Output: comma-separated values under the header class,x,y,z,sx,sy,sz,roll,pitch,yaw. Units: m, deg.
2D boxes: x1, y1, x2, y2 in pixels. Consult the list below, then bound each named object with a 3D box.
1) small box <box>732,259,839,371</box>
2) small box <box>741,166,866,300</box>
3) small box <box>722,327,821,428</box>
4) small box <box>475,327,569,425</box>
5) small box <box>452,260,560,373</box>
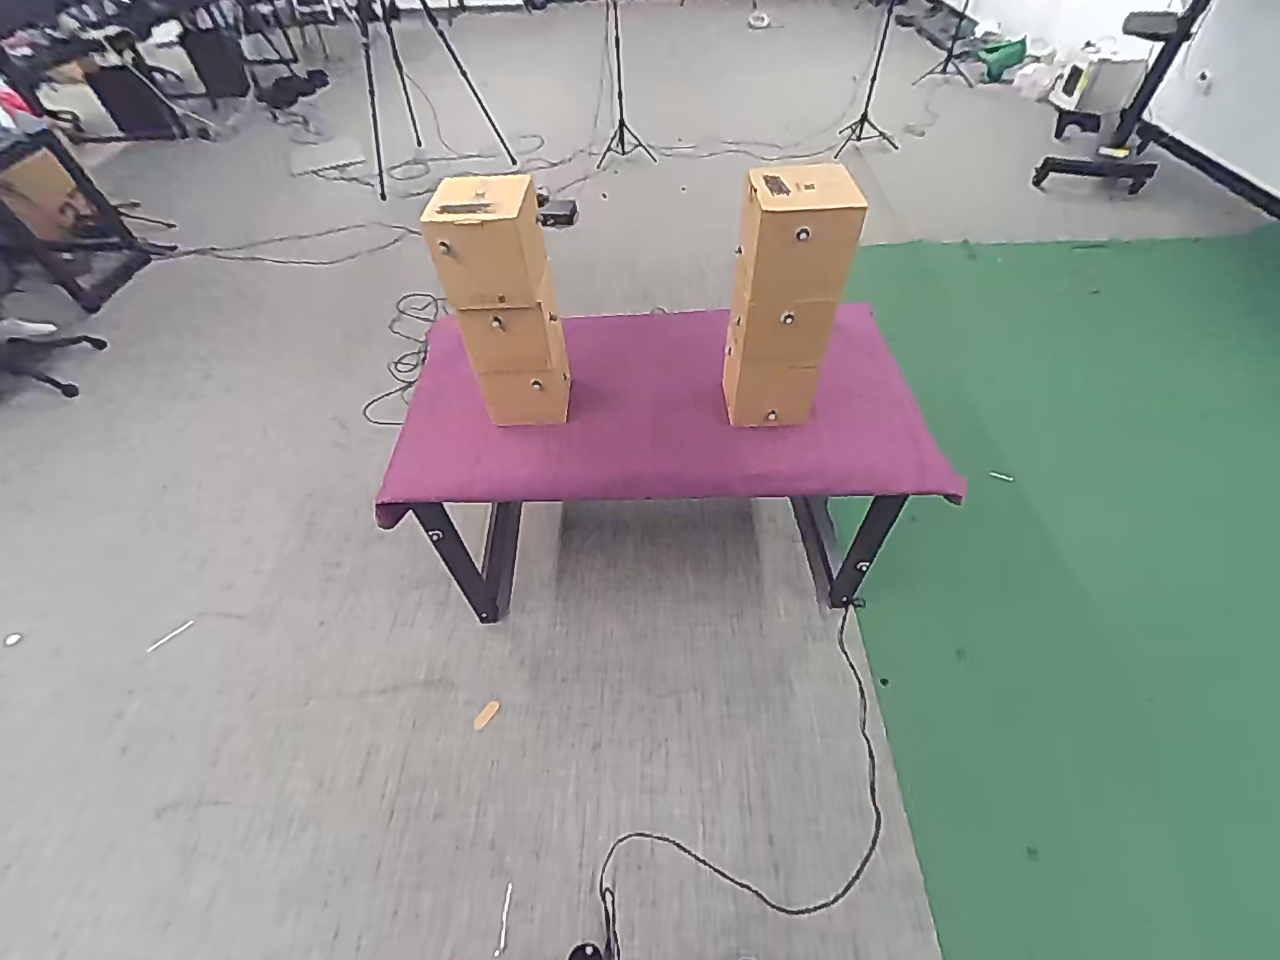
class,x,y,z,sx,sy,sz,roll,pitch,yaw
small box,0.285,-0.339,1.109,0.179,0.176,0.168,-2,51,2
small box,0.282,-0.444,0.982,0.179,0.176,0.168,-2,52,1
small box,0.290,-0.234,1.234,0.179,0.176,0.168,-3,50,0
small box,-0.264,-0.241,1.263,0.179,0.176,0.168,-1,50,1
small box,-0.269,-0.341,1.136,0.179,0.176,0.168,-2,51,1
